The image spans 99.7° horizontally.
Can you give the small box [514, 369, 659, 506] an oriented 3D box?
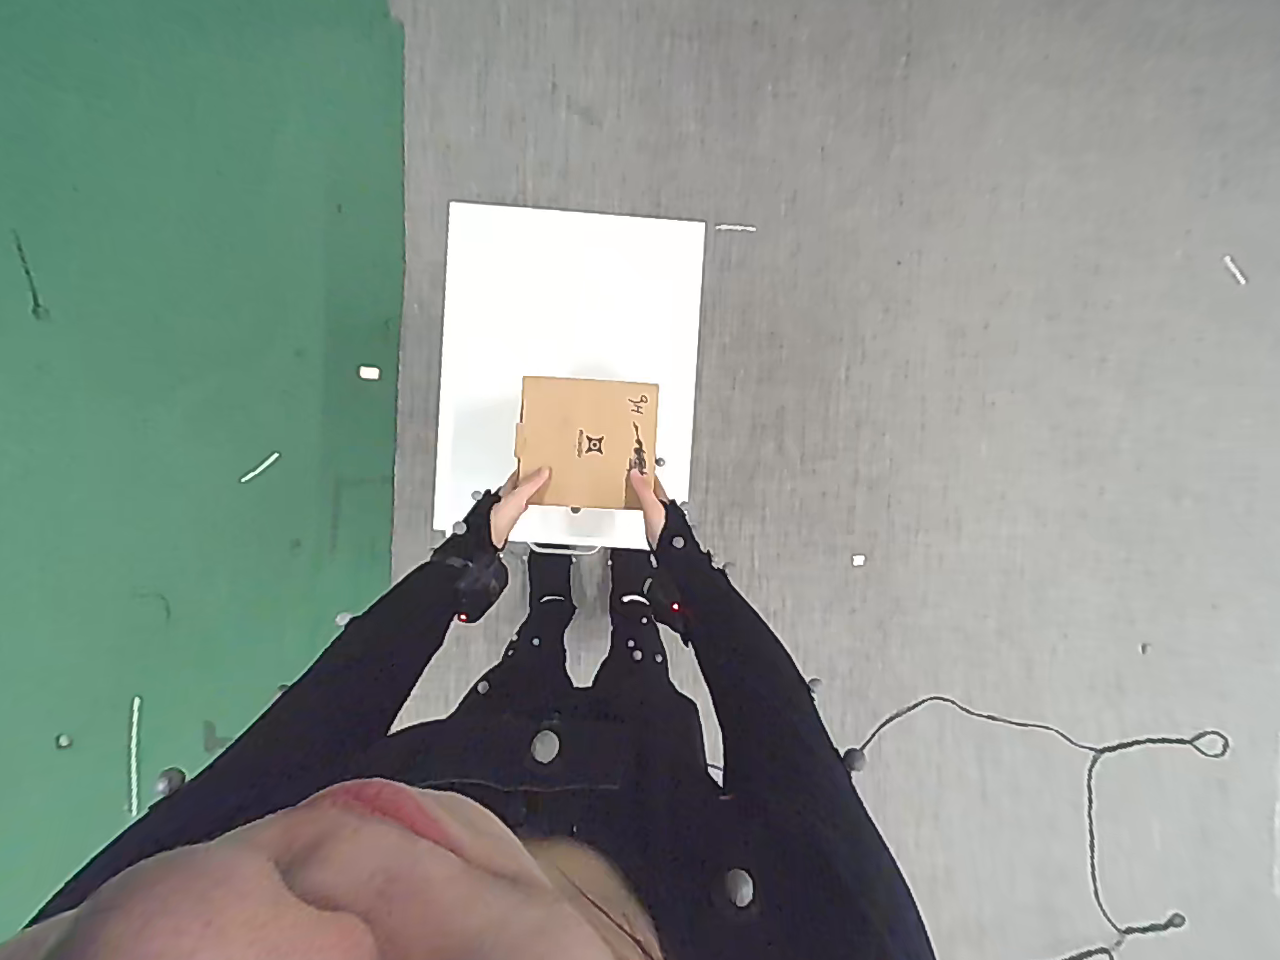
[{"bbox_3d":[-0.069,-0.054,0.763,0.179,0.176,0.168,4,91,-2],"label":"small box"}]
